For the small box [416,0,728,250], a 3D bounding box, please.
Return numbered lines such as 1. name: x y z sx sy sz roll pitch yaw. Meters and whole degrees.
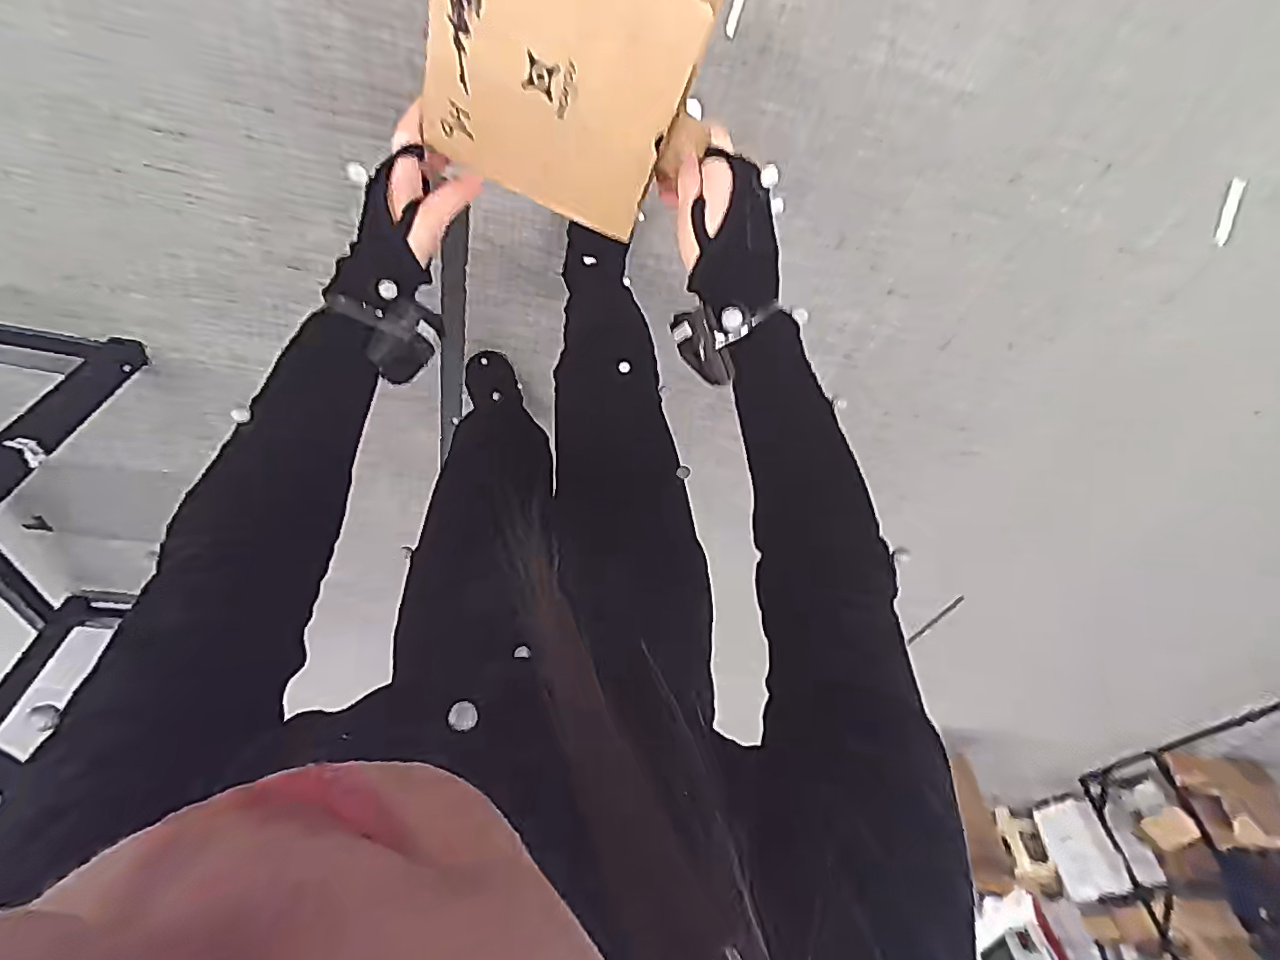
1. small box: -0.045 -0.321 0.409 0.179 0.176 0.168 22 141 -12
